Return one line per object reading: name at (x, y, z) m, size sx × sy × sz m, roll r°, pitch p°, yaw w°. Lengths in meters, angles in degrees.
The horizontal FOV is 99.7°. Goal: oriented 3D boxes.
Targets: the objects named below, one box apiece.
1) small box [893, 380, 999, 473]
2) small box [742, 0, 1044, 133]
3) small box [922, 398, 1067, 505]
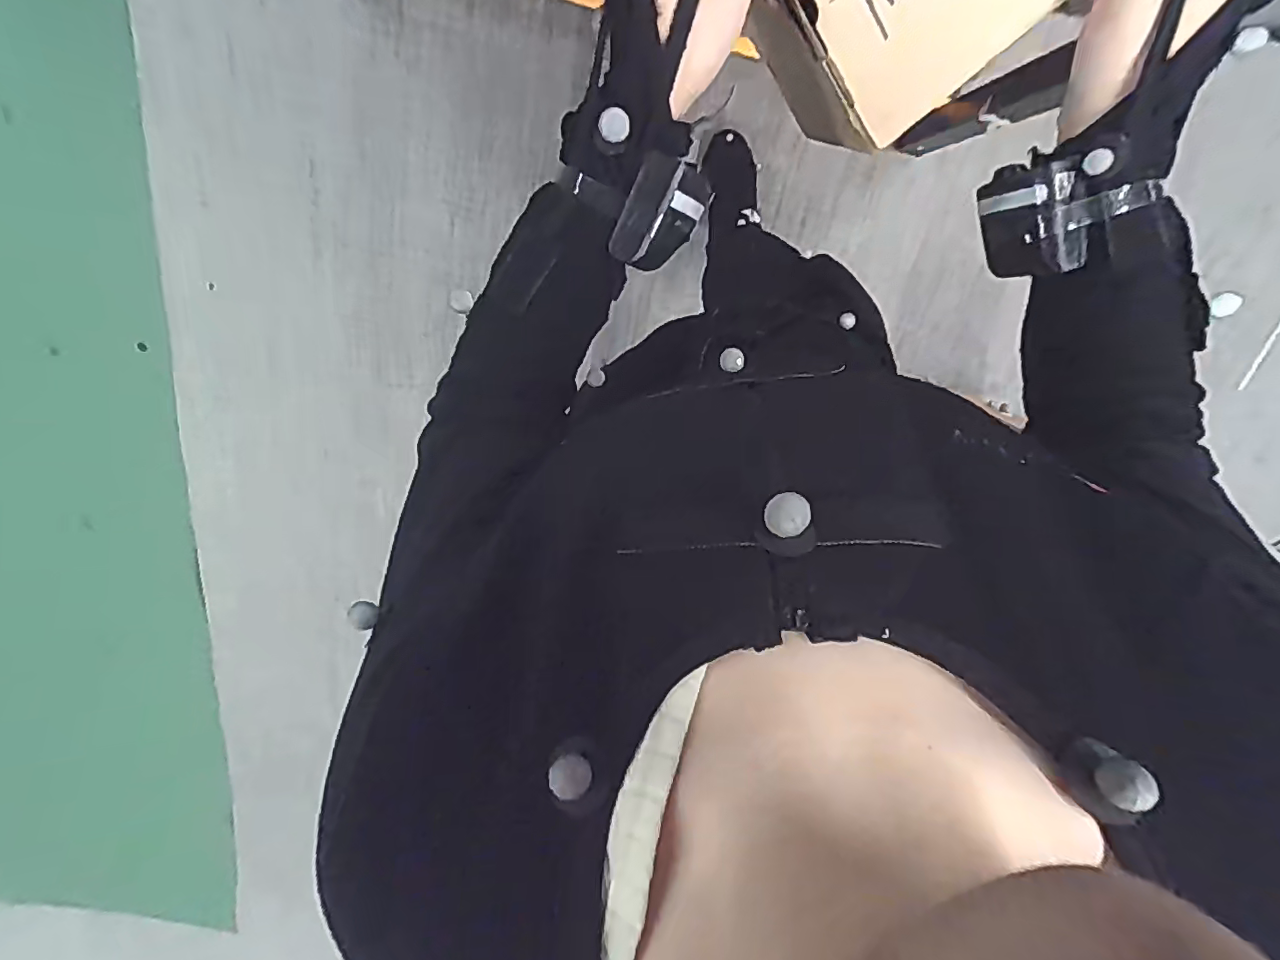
small box at (0.719, -0.111, 1.254) m, size 0.168 × 0.176 × 0.179 m, roll 15°, pitch 114°, yaw -5°
small box at (0.150, -0.339, 0.311) m, size 0.179 × 0.176 × 0.168 m, roll -35°, pitch 118°, yaw 22°
small box at (0.711, -0.049, 1.103) m, size 0.168 × 0.176 × 0.179 m, roll 12°, pitch 112°, yaw -5°
